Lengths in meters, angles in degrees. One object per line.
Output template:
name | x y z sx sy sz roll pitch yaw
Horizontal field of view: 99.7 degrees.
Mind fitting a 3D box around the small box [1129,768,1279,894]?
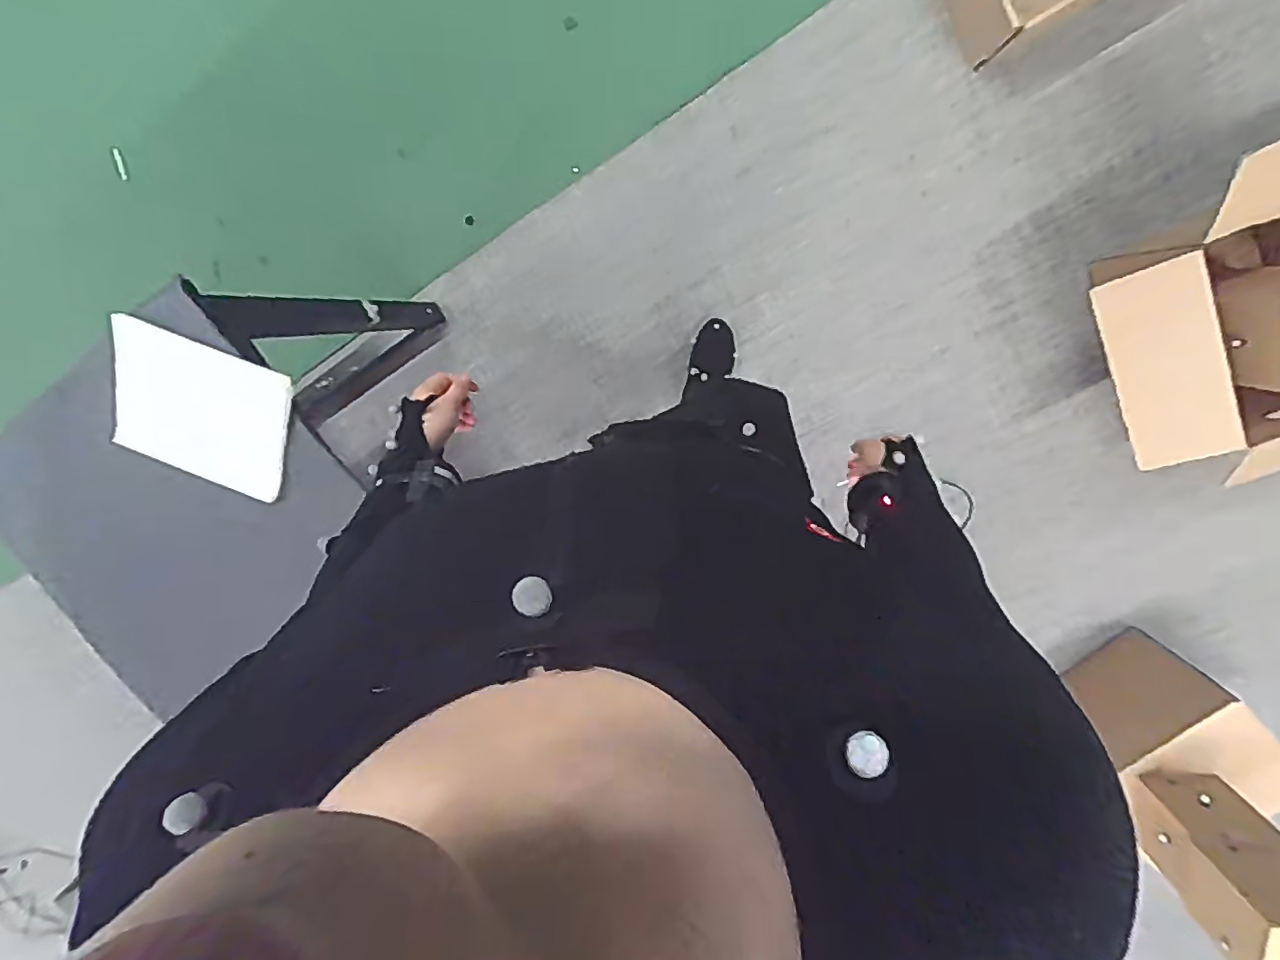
small box | 1.223 0.759 1.184 0.168 0.176 0.179 -7 104 10

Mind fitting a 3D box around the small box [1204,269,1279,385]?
small box | 1.198 -0.290 0.994 0.179 0.176 0.168 -18 107 12
